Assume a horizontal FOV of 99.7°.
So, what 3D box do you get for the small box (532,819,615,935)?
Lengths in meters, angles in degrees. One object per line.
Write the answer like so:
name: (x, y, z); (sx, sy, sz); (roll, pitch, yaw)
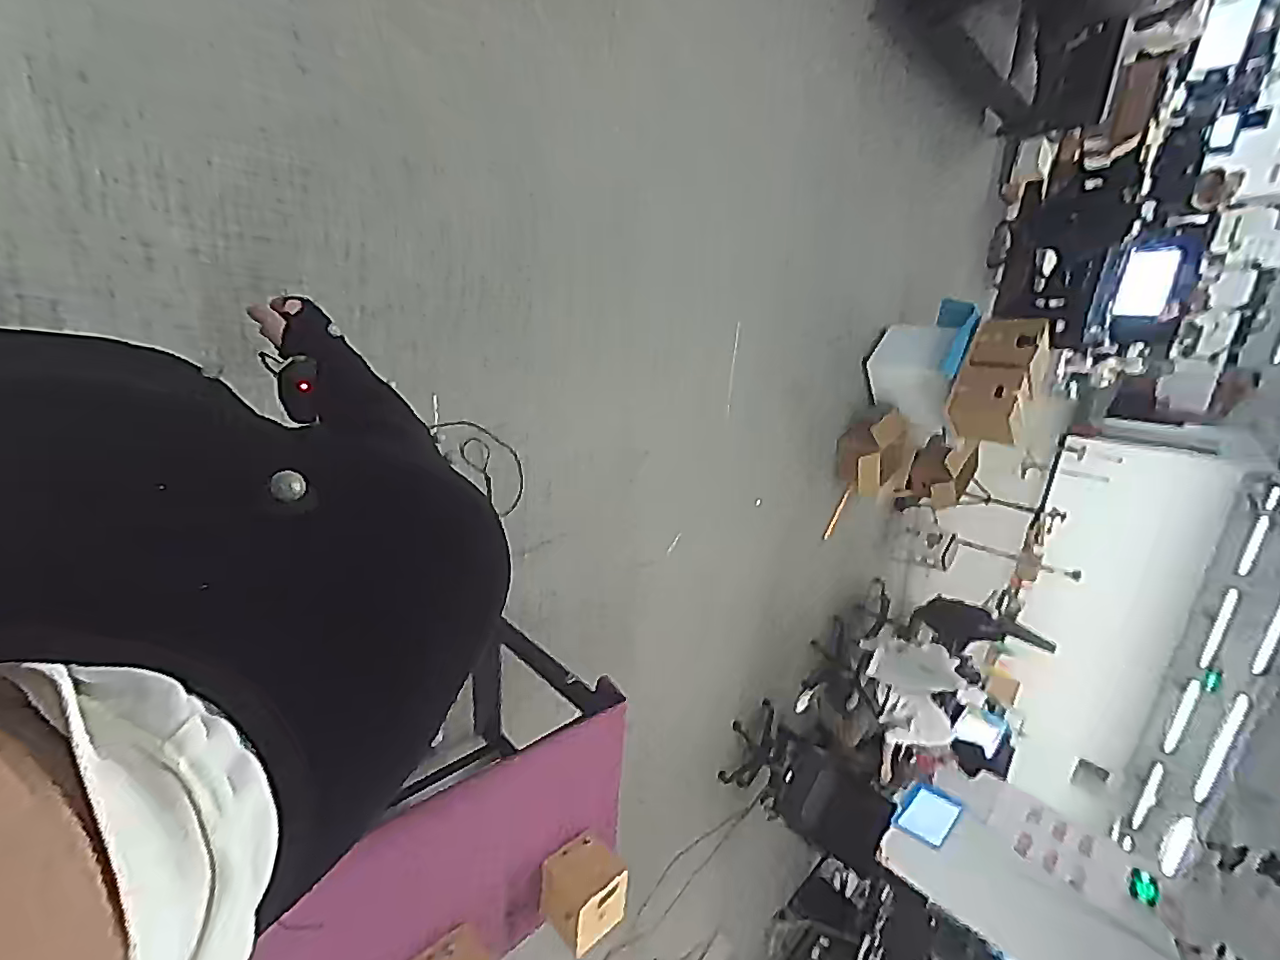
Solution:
small box: (-0.190, 1.100, 1.524); (0.168, 0.176, 0.179); (-10, 112, -44)
